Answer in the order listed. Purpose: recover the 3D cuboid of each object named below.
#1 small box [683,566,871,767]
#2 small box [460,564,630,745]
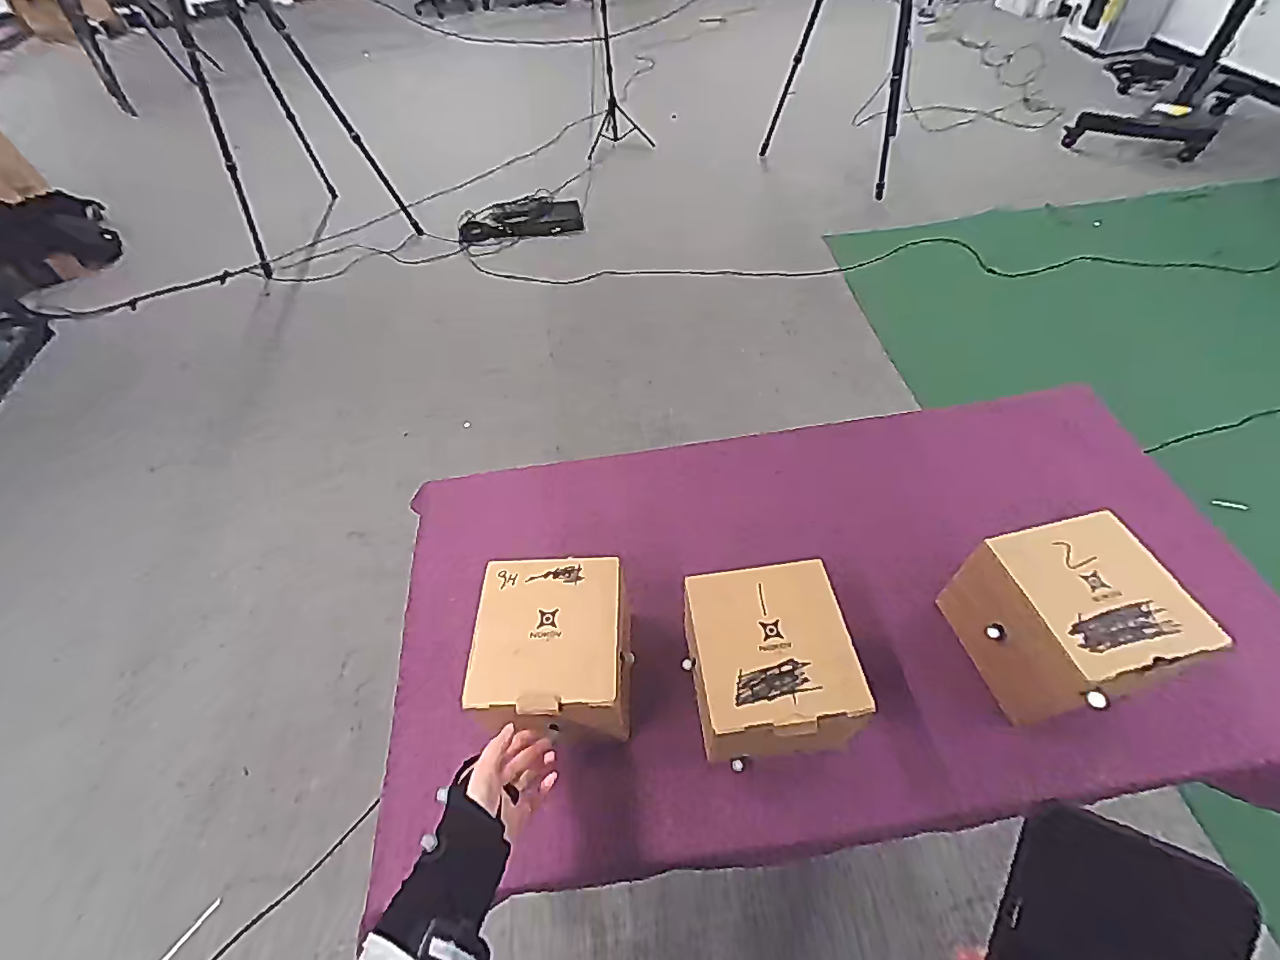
[{"bbox_3d":[0.148,0.228,0.647,0.168,0.176,0.179,-8,51,-1],"label":"small box"},{"bbox_3d":[-0.102,0.223,0.674,0.168,0.176,0.179,-2,52,3],"label":"small box"}]
